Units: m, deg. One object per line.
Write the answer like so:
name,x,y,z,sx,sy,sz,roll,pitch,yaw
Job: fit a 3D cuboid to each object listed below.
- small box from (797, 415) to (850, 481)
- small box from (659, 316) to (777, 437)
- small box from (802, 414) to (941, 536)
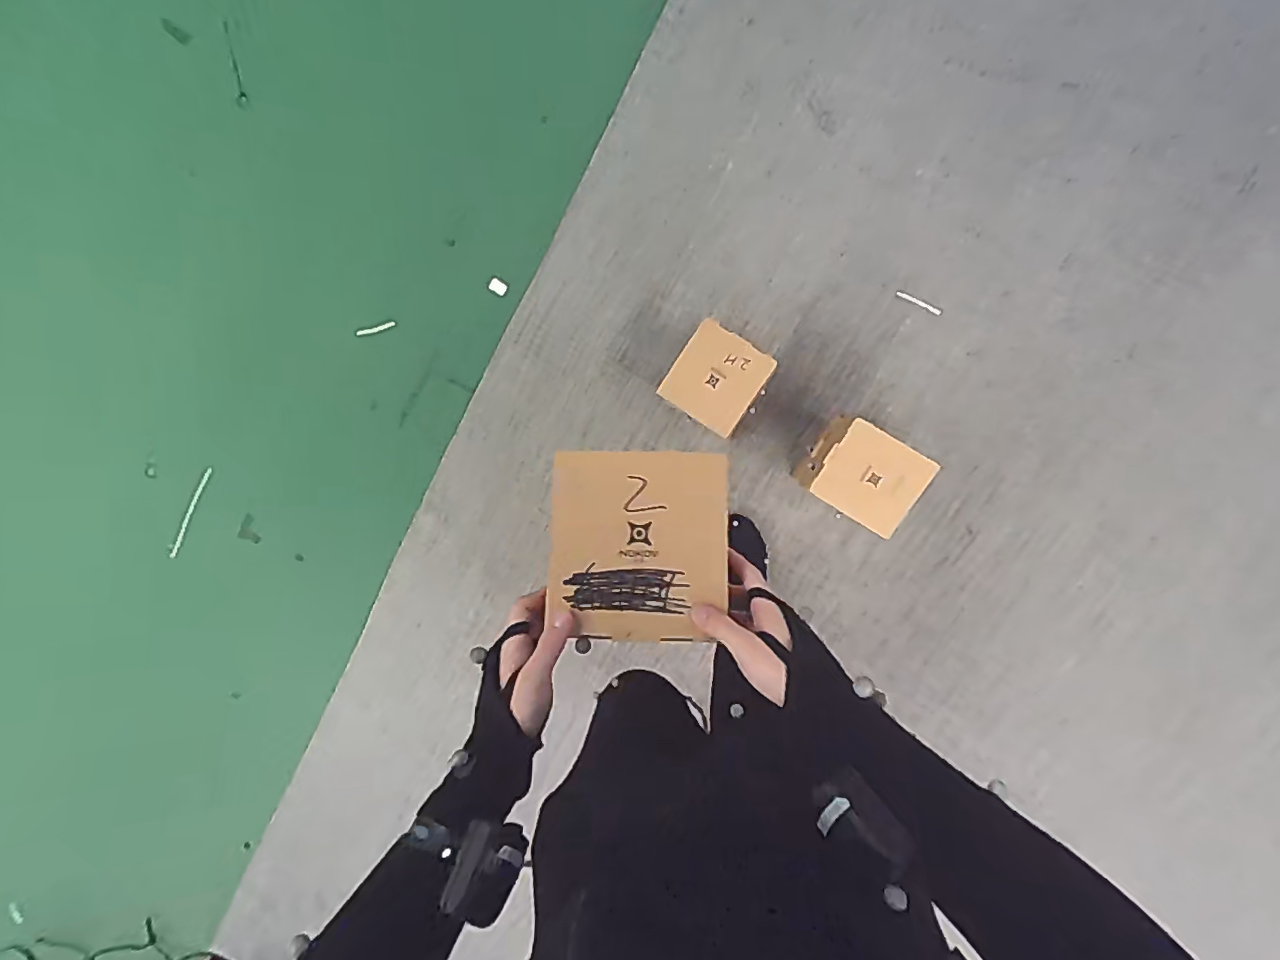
small box,0.477,-0.031,1.232,0.179,0.176,0.168,31,99,8
small box,0.162,-0.202,1.112,0.168,0.176,0.179,35,98,6
small box,0.443,-0.012,1.073,0.179,0.176,0.168,33,99,6
